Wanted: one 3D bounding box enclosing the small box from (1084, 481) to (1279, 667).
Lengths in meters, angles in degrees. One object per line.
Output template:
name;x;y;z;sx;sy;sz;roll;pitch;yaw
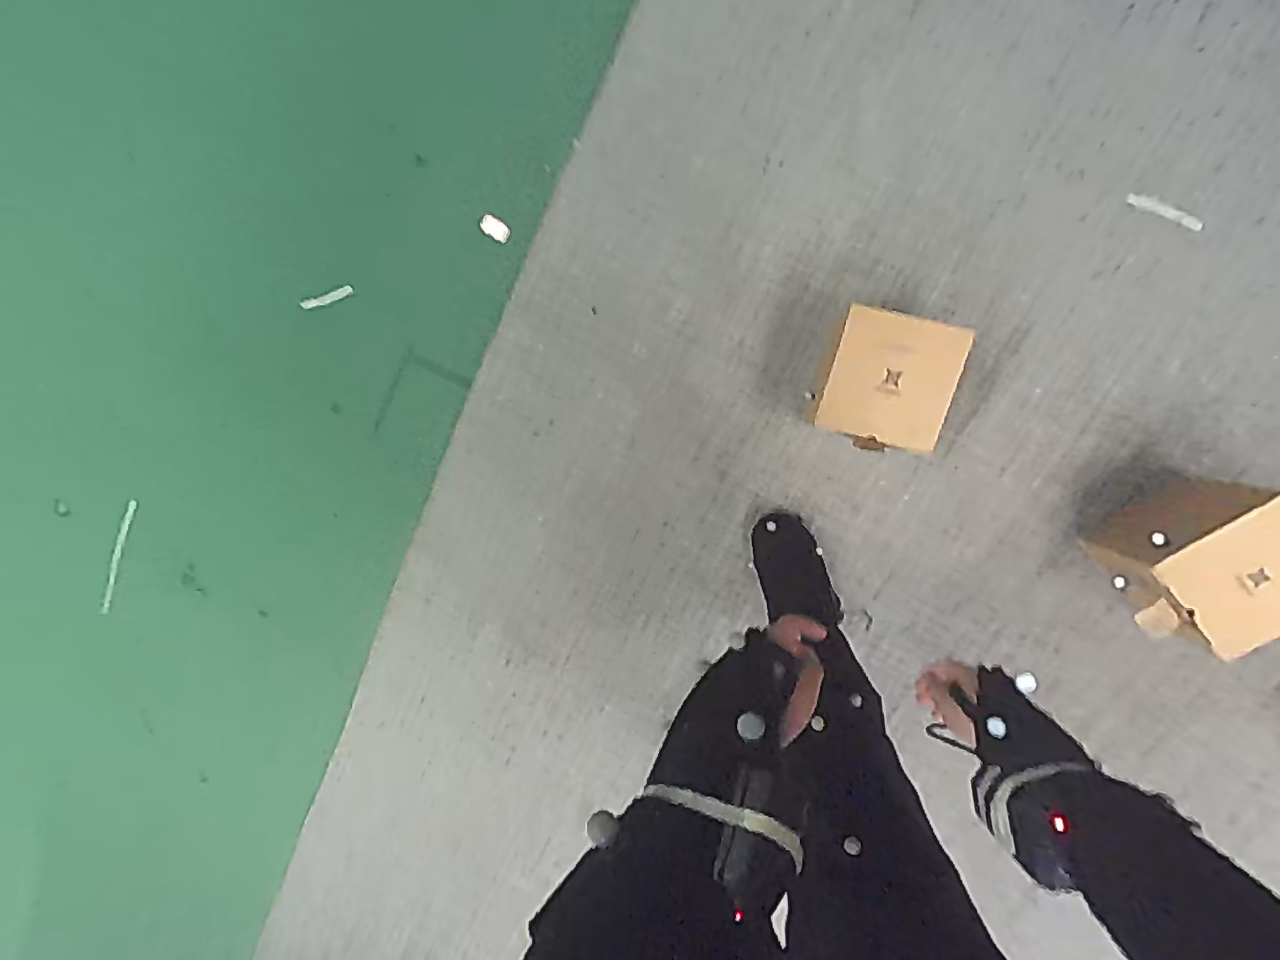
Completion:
small box;0.802;0.121;0.768;0.179;0.176;0.168;-38;91;14

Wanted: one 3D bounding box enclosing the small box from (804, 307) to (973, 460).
small box;0.356;-0.141;0.813;0.168;0.176;0.179;16;99;7
